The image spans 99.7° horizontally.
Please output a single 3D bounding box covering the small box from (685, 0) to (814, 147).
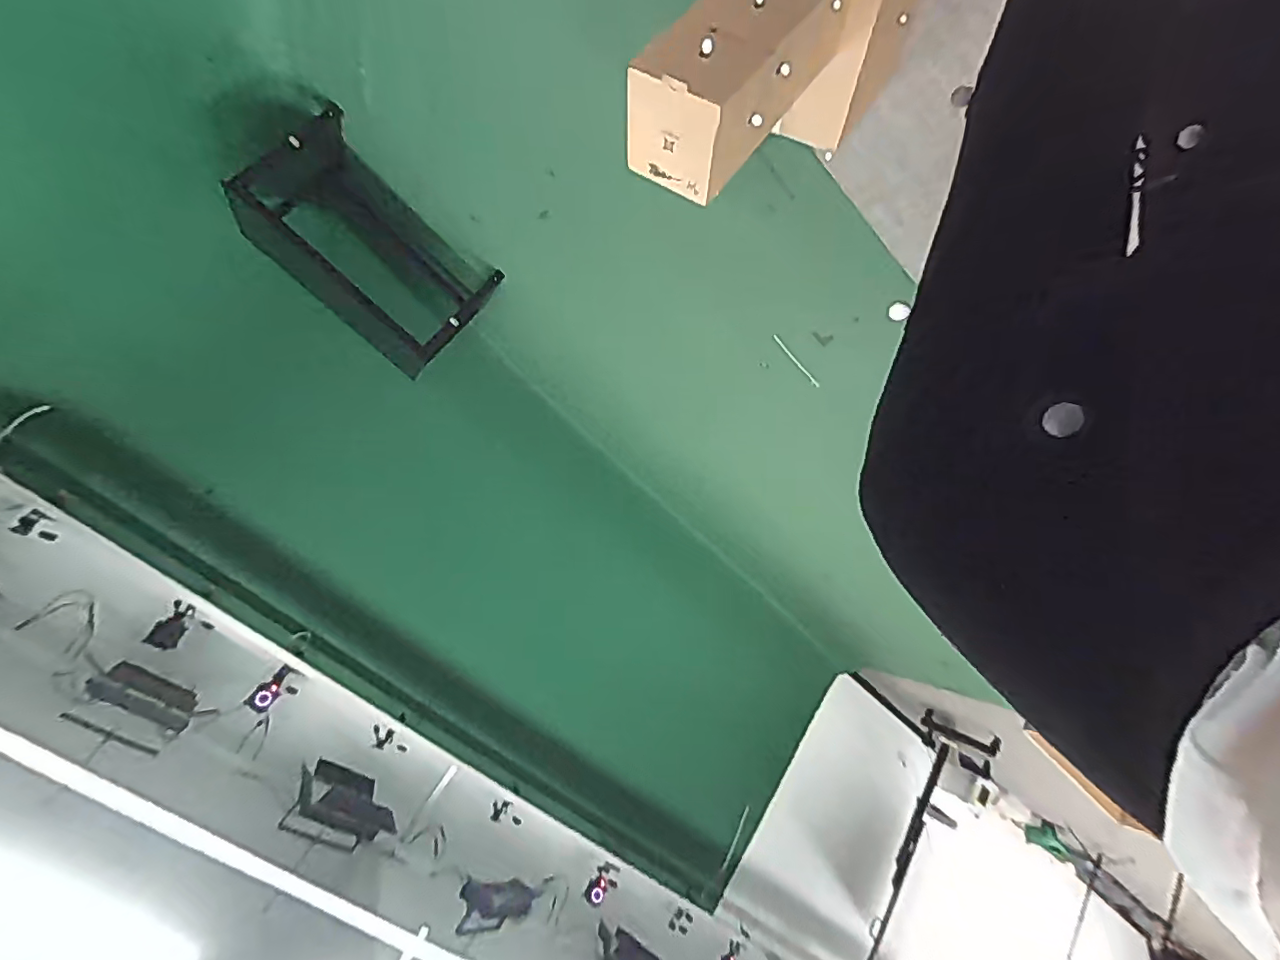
[{"bbox_3d":[0.183,-0.746,0.954,0.168,0.176,0.179,33,161,11],"label":"small box"}]

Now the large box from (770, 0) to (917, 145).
[{"bbox_3d":[0.404,-1.039,1.151,0.320,0.320,0.408,32,162,15],"label":"large box"}]

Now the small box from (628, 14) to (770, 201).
[{"bbox_3d":[0.095,-0.619,0.900,0.168,0.176,0.179,33,160,11],"label":"small box"}]
